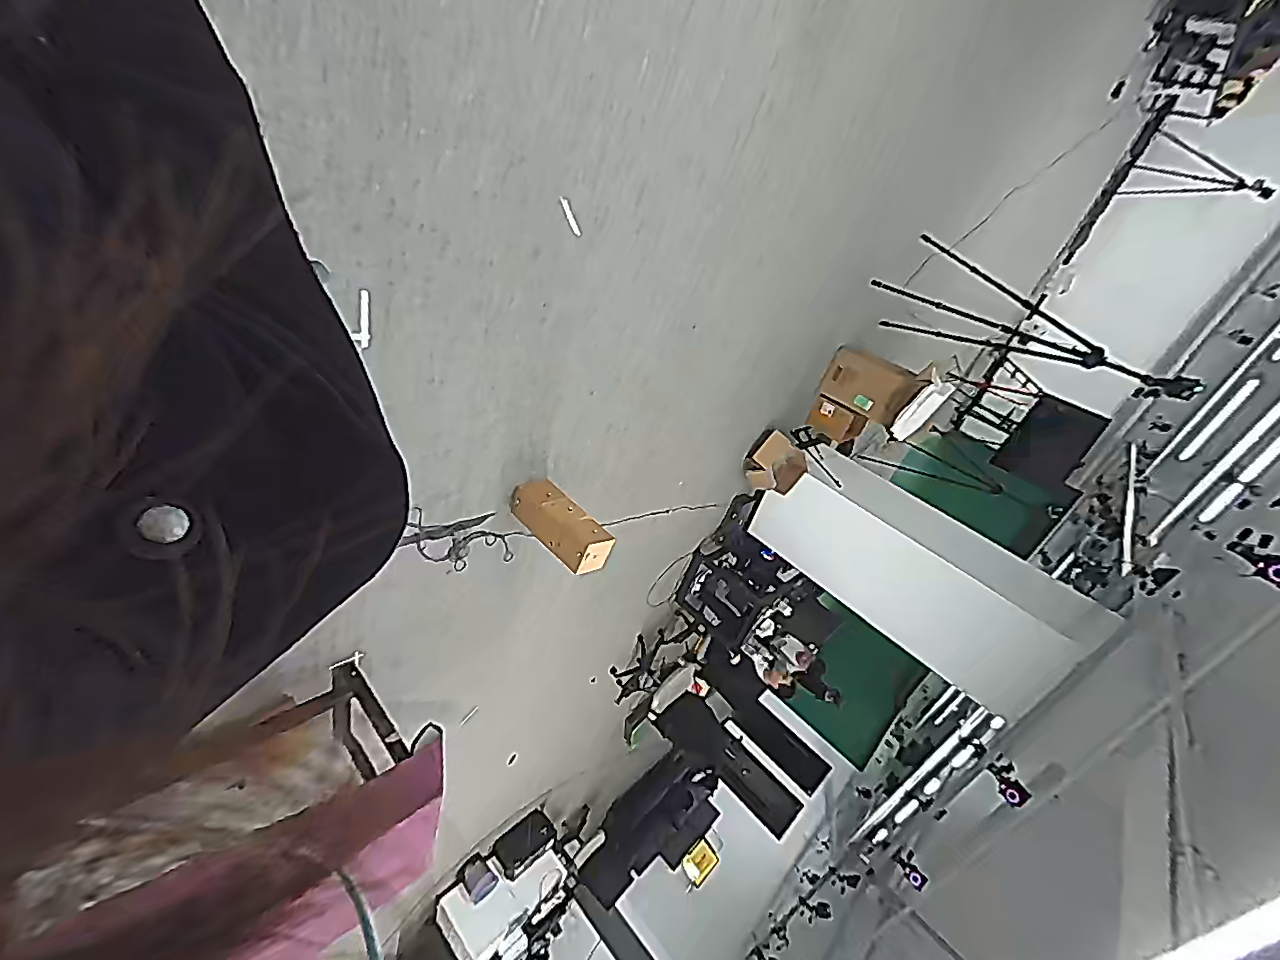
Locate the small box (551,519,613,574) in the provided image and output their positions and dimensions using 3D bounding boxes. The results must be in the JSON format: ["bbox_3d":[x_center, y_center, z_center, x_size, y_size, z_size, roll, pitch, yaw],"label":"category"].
[{"bbox_3d":[-0.256,0.286,2.375,0.179,0.176,0.168,-7,127,-54],"label":"small box"}]

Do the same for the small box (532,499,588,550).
[{"bbox_3d":[-0.370,0.201,2.458,0.168,0.176,0.179,-15,133,-48],"label":"small box"}]

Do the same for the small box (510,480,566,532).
[{"bbox_3d":[-0.482,0.115,2.537,0.179,0.176,0.168,-16,134,-47],"label":"small box"}]
